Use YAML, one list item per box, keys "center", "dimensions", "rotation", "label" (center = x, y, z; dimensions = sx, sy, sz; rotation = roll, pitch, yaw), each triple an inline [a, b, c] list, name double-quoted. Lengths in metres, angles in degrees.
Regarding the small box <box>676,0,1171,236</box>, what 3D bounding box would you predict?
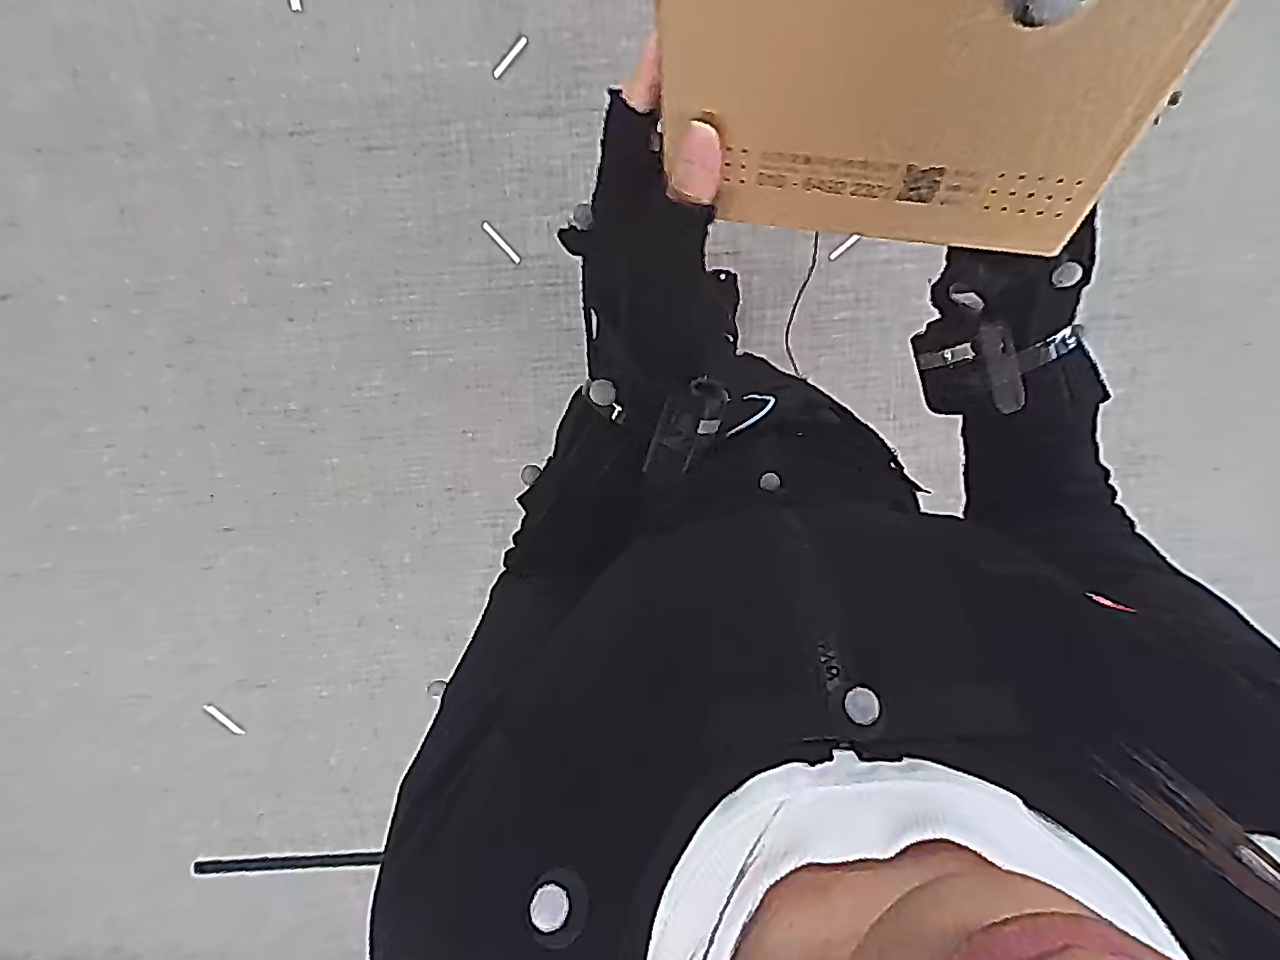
- center: [0.113, -0.230, 0.224]
  dimensions: [0.168, 0.176, 0.179]
  rotation: [12, 62, 10]
  label: "small box"
